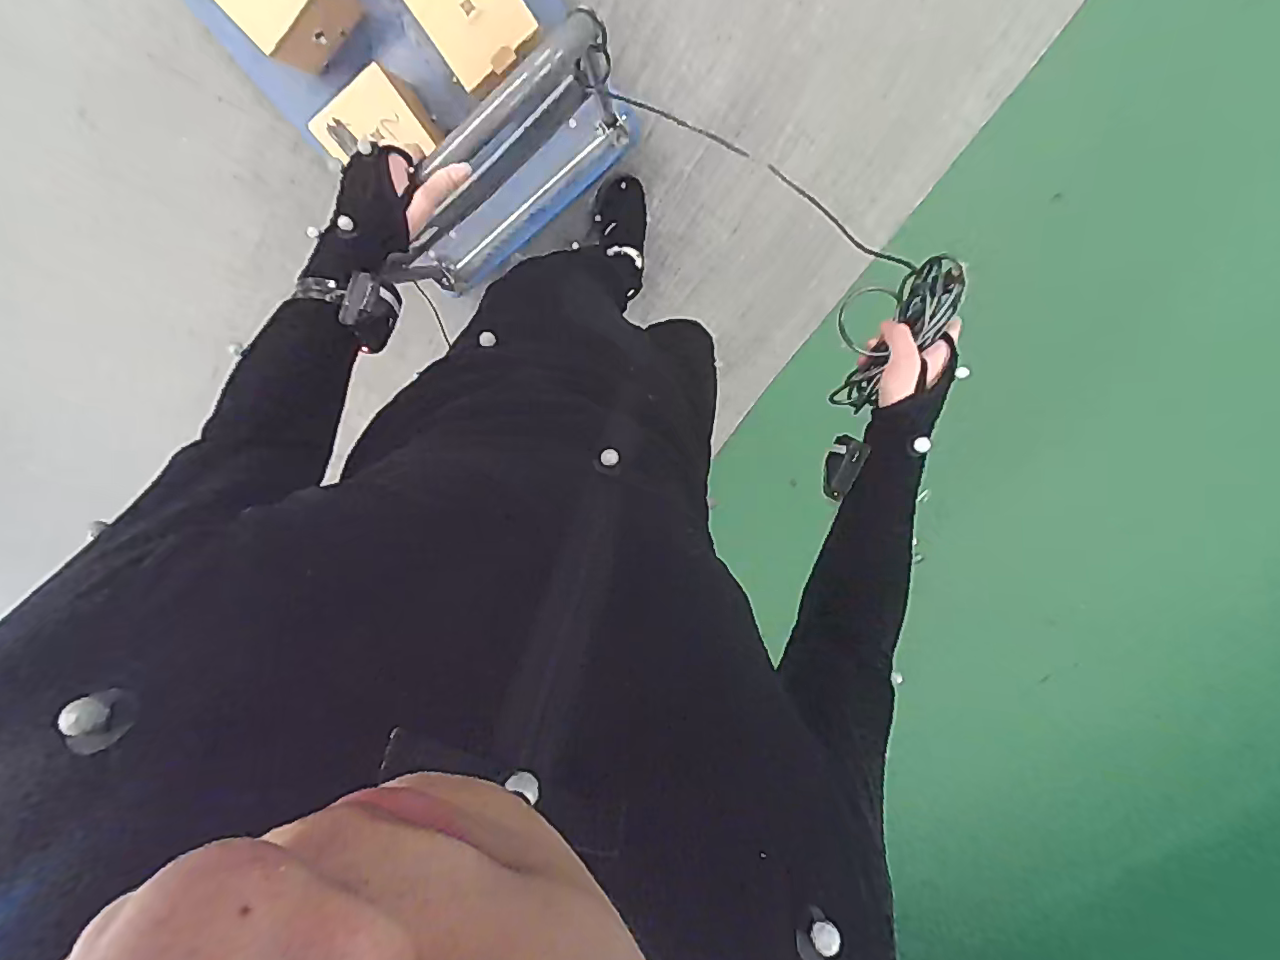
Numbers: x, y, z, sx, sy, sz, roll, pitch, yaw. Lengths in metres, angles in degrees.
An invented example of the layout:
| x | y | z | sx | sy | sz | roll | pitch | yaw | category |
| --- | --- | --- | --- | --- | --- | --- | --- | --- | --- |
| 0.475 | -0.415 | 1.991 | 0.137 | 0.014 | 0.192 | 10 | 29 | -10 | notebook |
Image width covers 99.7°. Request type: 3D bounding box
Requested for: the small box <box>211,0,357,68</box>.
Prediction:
| x | y | z | sx | sy | sz | roll | pitch | yaw | category |
| --- | --- | --- | --- | --- | --- | --- | --- | --- | --- |
| -0.640 | -0.866 | 0.946 | 0.168 | 0.176 | 0.179 | -38 | 112 | 15 | small box |

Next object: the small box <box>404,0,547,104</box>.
| x | y | z | sx | sy | sz | roll | pitch | yaw | category |
| --- | --- | --- | --- | --- | --- | --- | --- | --- | --- |
| -0.291 | -0.825 | 0.978 | 0.168 | 0.176 | 0.179 | -33 | 114 | 14 | small box |
